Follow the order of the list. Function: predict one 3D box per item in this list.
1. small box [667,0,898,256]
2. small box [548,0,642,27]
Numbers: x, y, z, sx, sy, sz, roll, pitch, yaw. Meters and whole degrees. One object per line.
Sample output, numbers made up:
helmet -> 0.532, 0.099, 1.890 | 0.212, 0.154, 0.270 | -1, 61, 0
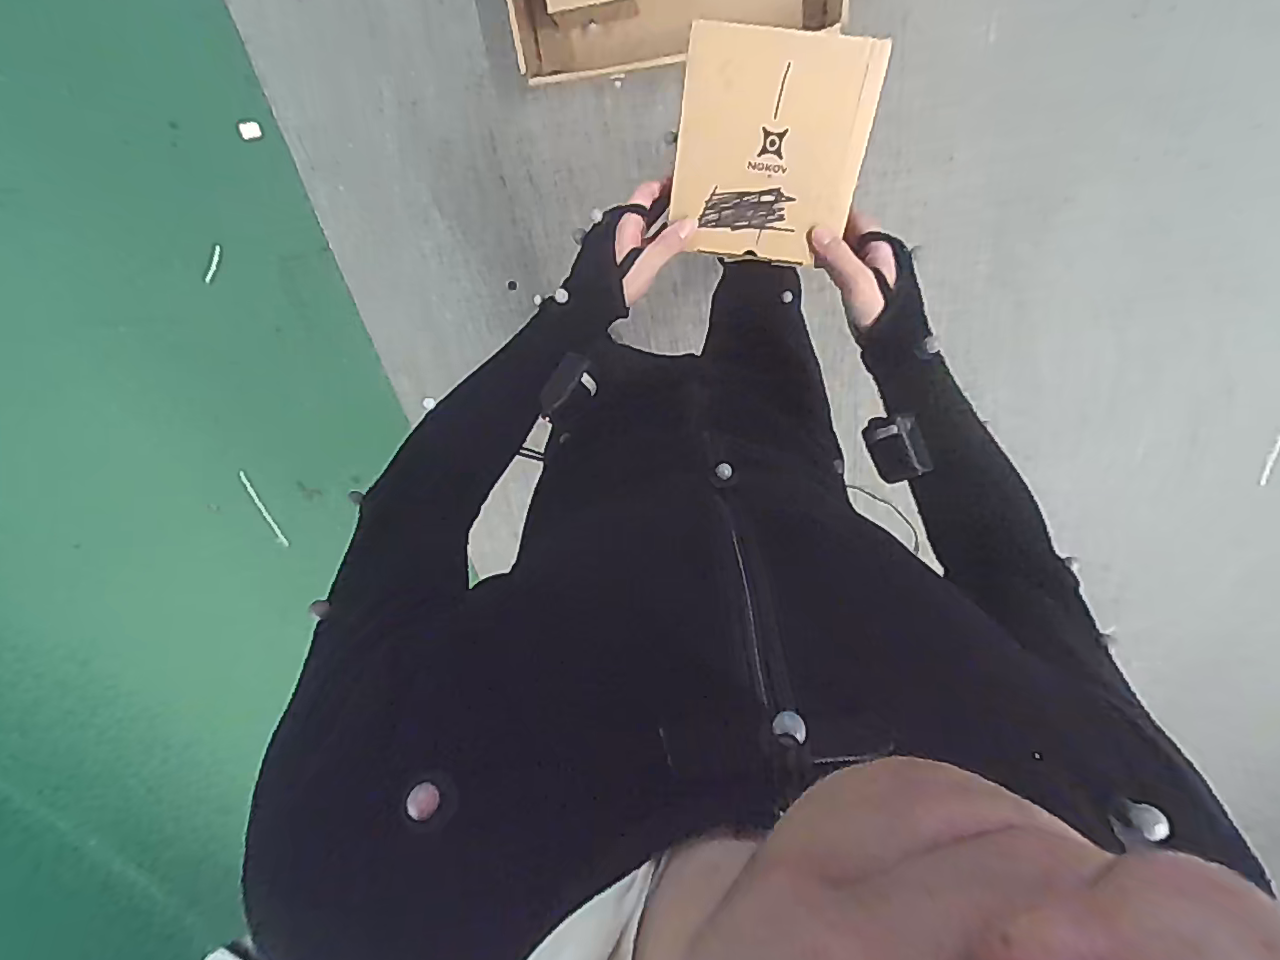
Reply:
small box -> 0.121, -0.333, 0.534 | 0.168, 0.176, 0.179 | 7, 119, 1
small box -> -0.089, -0.967, 0.988 | 0.168, 0.176, 0.179 | -4, 121, 7
